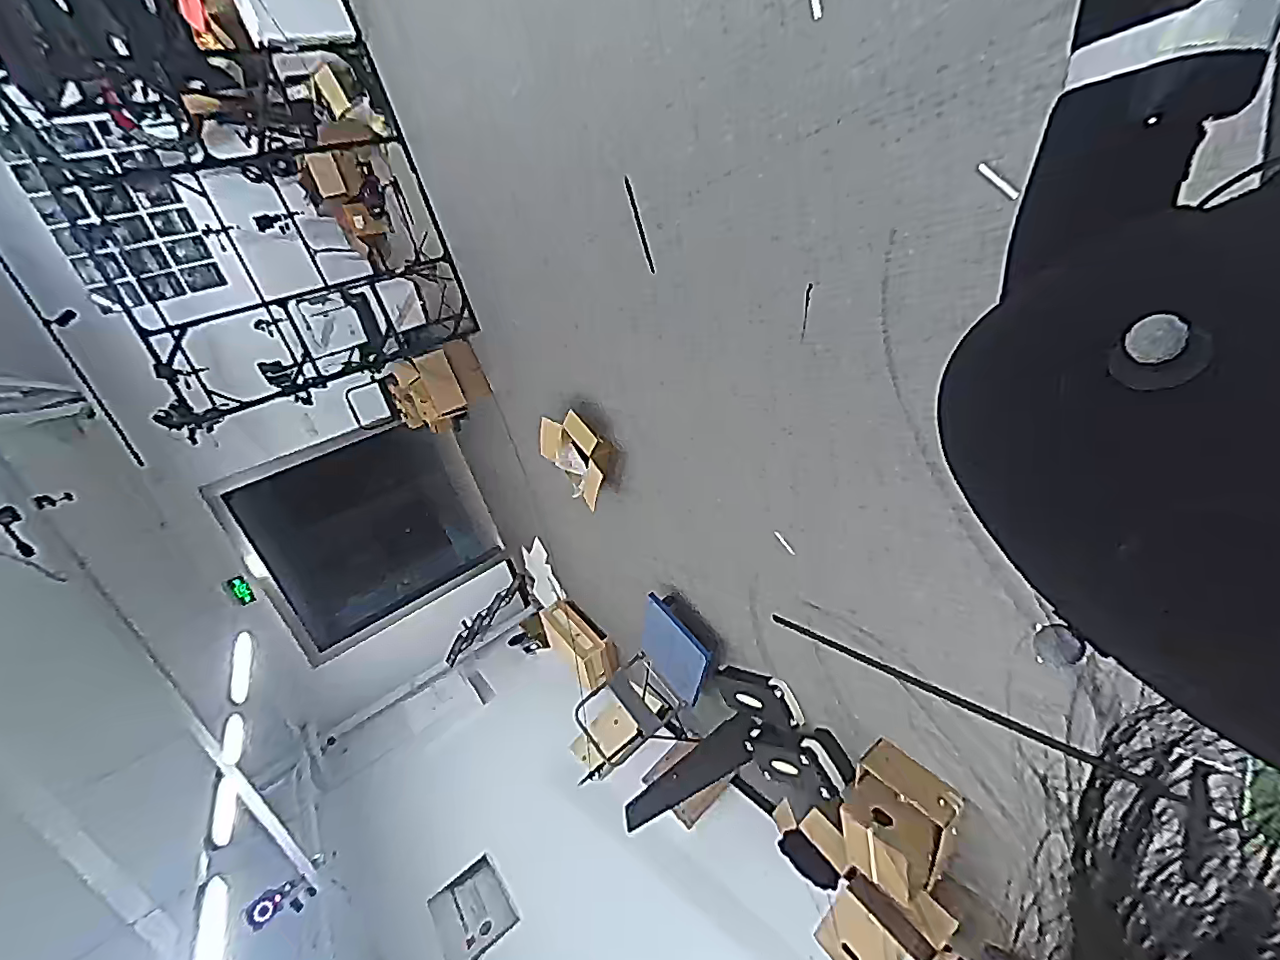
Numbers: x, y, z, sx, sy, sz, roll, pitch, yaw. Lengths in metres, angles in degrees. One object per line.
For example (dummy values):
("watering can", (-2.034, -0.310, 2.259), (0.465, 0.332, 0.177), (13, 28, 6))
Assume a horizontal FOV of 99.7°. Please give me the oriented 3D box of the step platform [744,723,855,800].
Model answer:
("step platform", (0.884, 1.603, 3.102), (0.286, 0.204, 0.684), (58, 152, 6))
